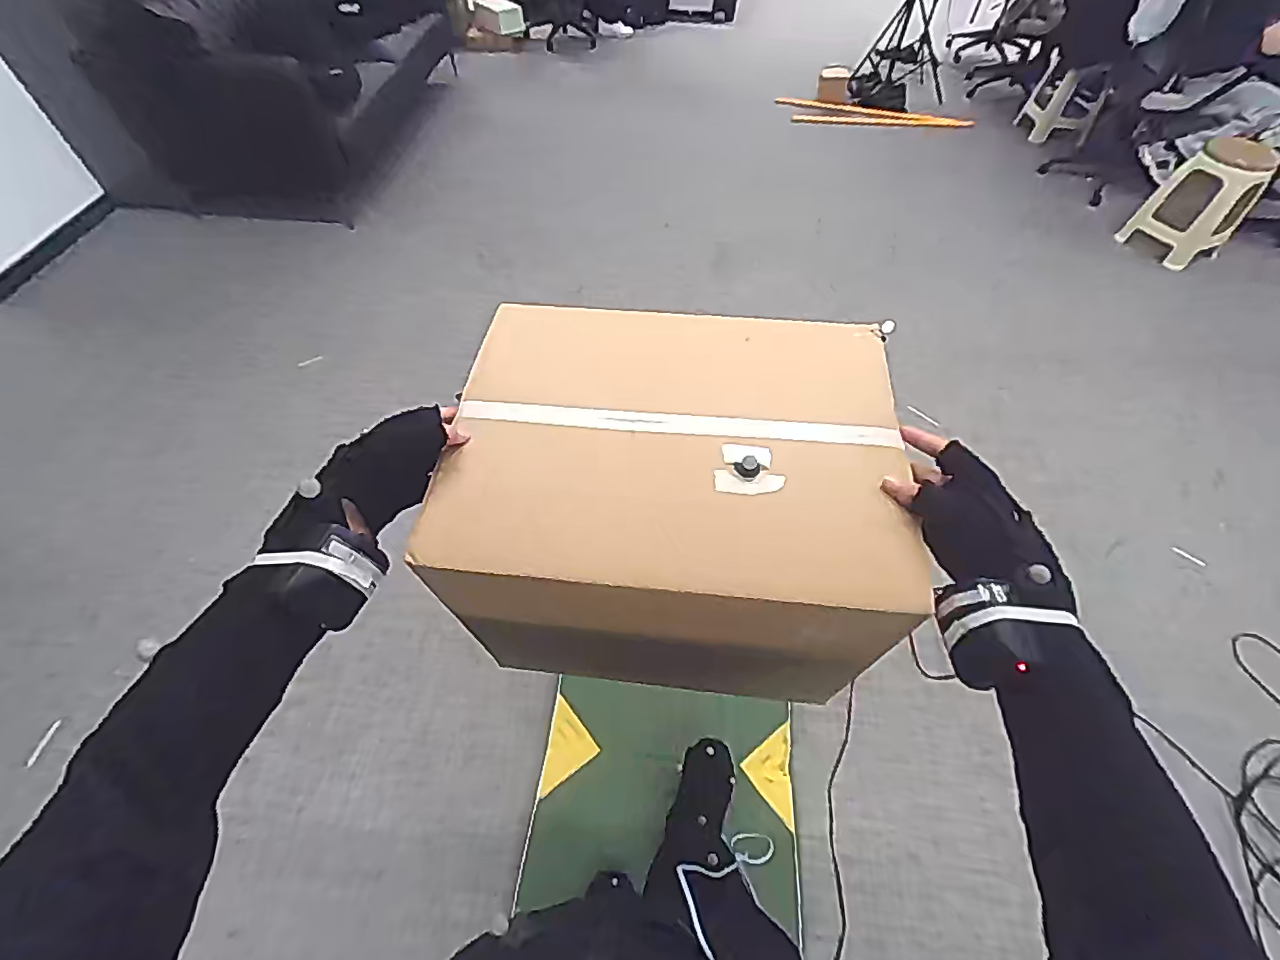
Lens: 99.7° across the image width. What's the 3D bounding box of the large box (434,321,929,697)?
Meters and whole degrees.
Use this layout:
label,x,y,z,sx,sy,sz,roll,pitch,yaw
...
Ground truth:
label,x,y,z,sx,sy,sz,roll,pitch,yaw
large box,0.041,0.044,0.632,0.408,0.320,0.320,5,57,4
